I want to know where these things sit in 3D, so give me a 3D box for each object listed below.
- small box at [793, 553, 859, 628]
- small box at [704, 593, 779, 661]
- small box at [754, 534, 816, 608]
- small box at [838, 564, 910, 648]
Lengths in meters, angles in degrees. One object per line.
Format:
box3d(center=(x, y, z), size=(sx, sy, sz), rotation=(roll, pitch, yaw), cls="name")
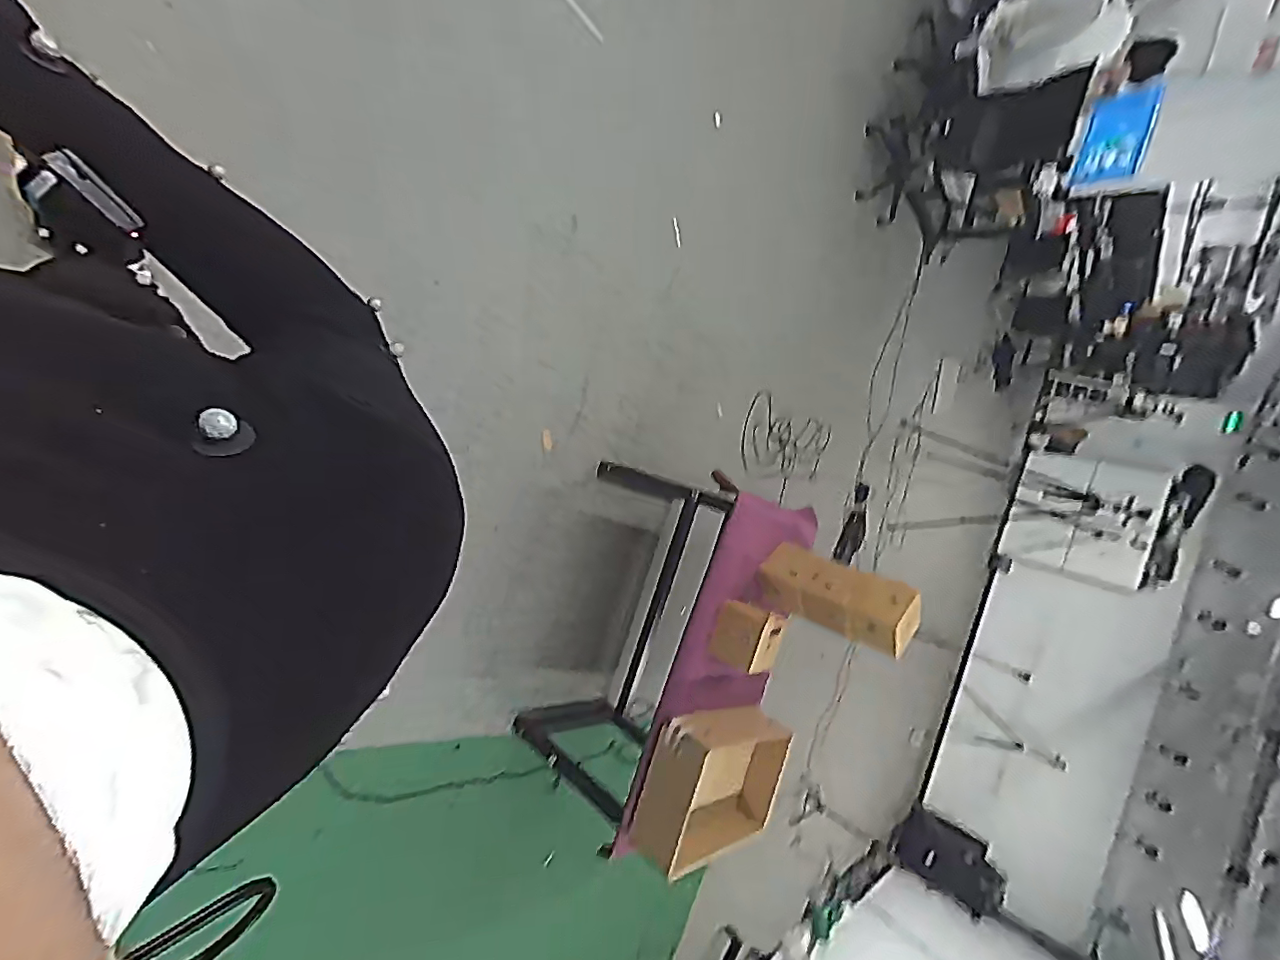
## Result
box3d(center=(0.645, 0.372, 1.874), size=(0.168, 0.176, 0.179), rotation=(-39, 129, -30), cls="small box")
box3d(center=(0.341, 0.491, 1.832), size=(0.168, 0.176, 0.179), rotation=(16, 92, -50), cls="small box")
box3d(center=(0.529, 0.327, 1.979), size=(0.179, 0.176, 0.168), rotation=(-40, 130, -31), cls="small box")
box3d(center=(0.762, 0.406, 1.768), size=(0.179, 0.176, 0.168), rotation=(-41, 129, -29), cls="small box")
